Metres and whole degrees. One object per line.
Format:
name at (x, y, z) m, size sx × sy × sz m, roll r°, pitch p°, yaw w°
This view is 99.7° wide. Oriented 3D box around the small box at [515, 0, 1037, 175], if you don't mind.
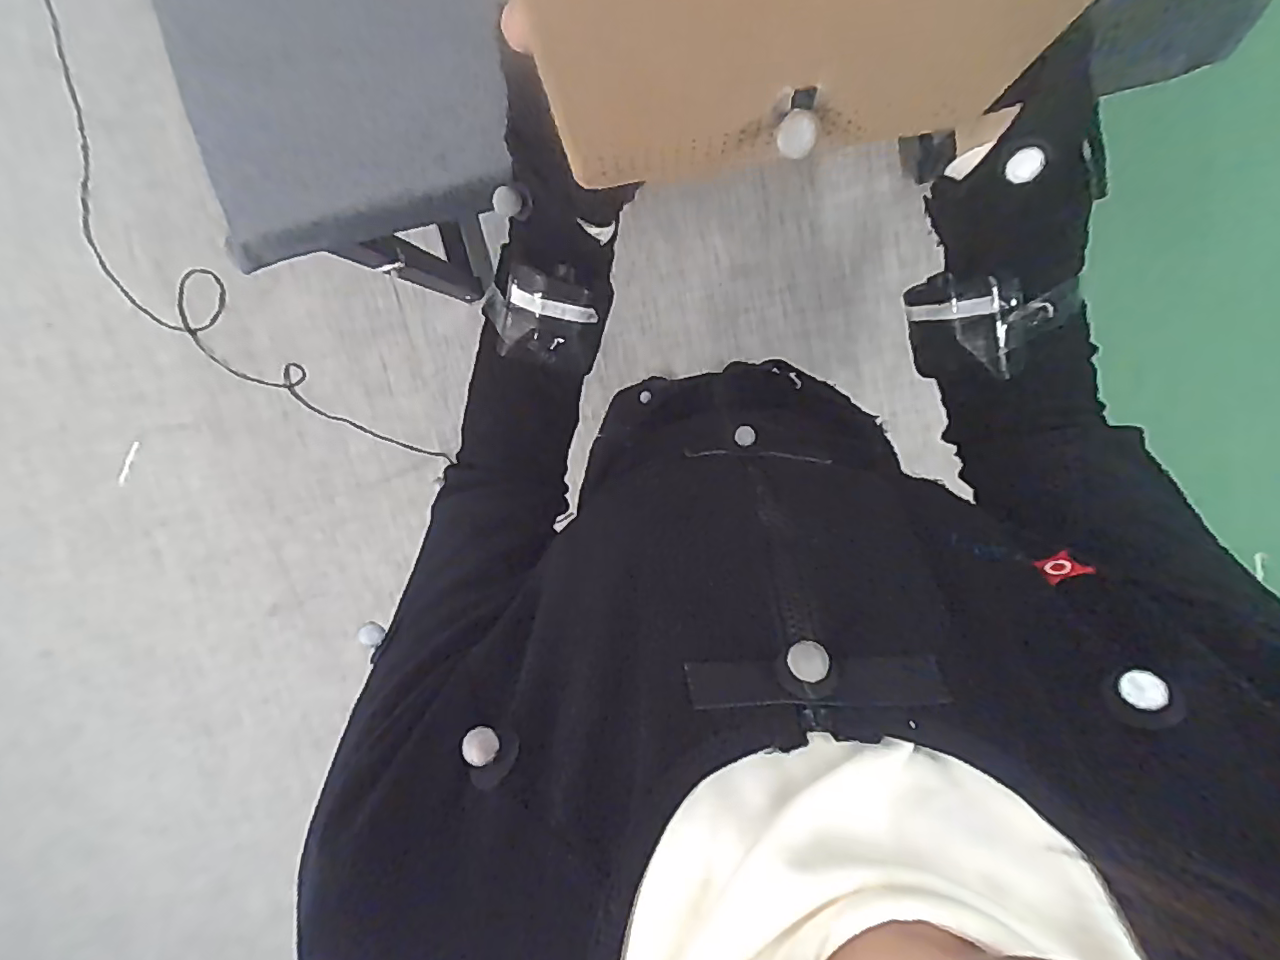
small box at (0.040, -0.222, 0.159) m, size 0.179 × 0.176 × 0.168 m, roll -9°, pitch 94°, yaw 2°
